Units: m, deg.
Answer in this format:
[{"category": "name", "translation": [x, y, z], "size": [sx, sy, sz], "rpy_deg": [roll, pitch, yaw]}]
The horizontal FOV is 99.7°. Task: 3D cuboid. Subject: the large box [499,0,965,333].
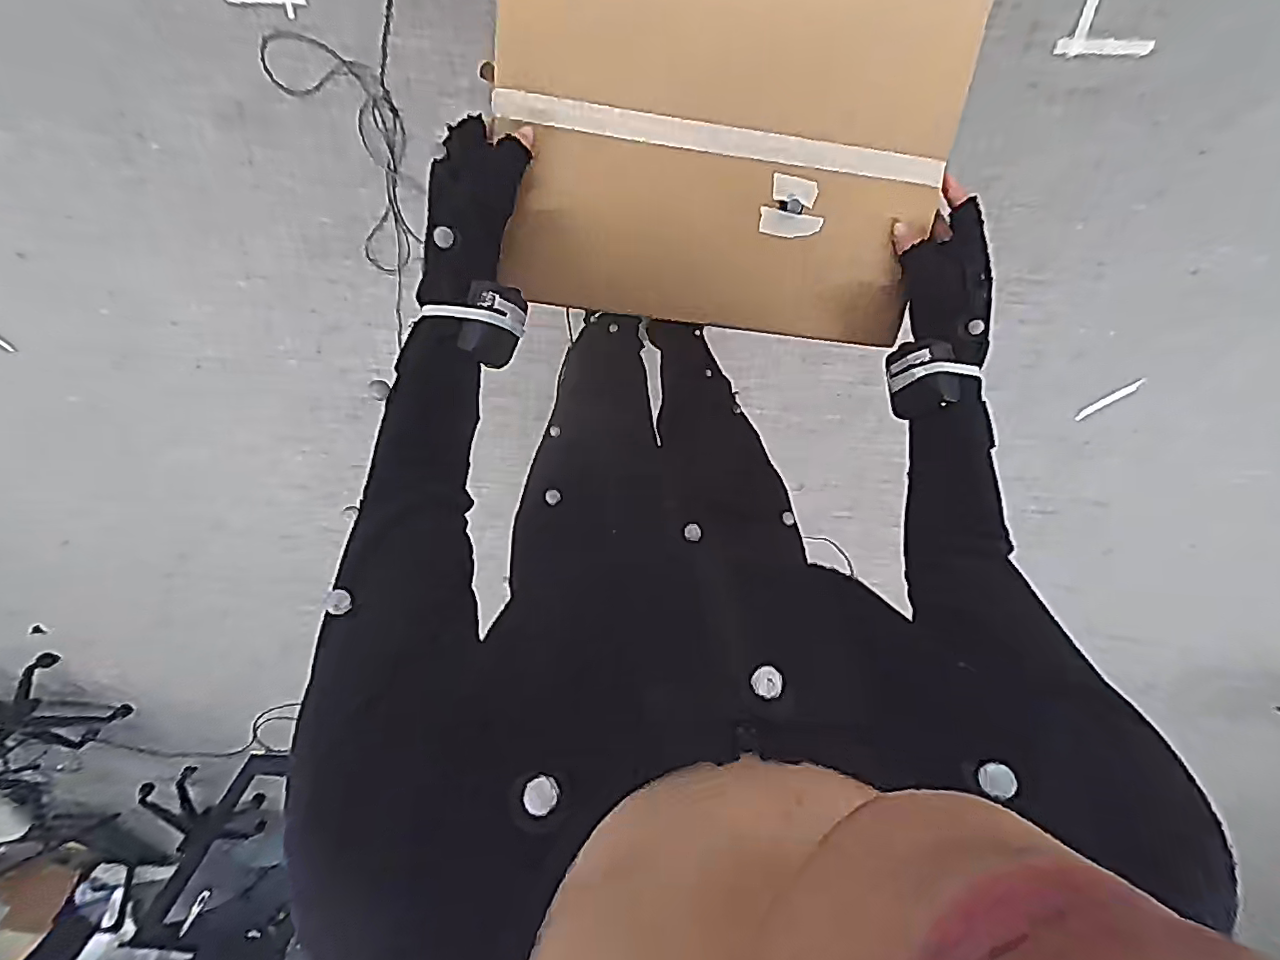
[{"category": "large box", "translation": [0.061, -0.366, 0.637], "size": [0.408, 0.320, 0.320], "rpy_deg": [5, 112, -7]}]
